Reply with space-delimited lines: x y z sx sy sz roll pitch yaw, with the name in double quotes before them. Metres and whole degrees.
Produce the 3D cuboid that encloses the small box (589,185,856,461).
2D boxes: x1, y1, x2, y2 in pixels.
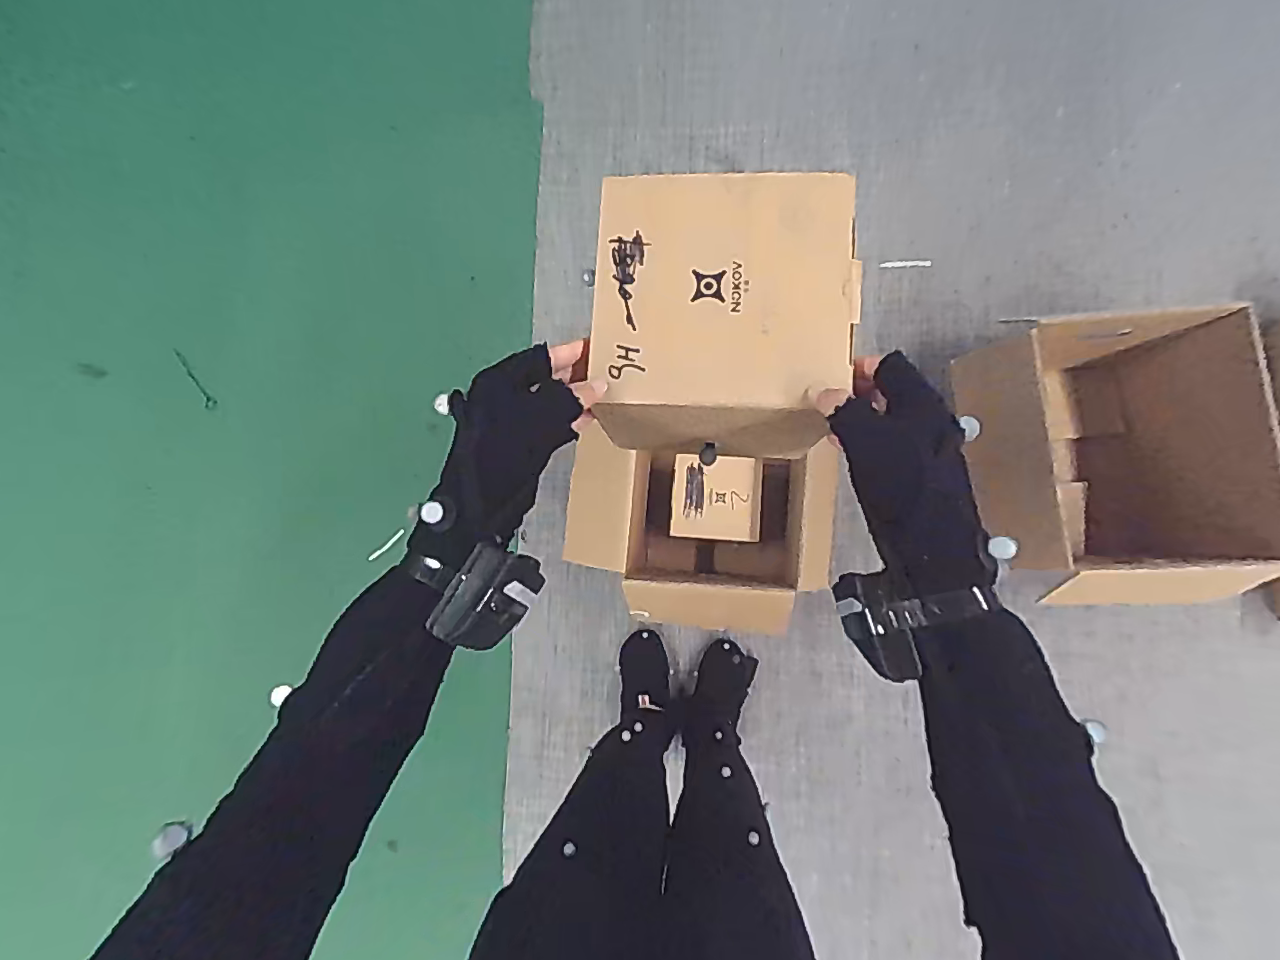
"small box" 0.062 -0.113 0.451 0.179 0.176 0.168 4 82 4
